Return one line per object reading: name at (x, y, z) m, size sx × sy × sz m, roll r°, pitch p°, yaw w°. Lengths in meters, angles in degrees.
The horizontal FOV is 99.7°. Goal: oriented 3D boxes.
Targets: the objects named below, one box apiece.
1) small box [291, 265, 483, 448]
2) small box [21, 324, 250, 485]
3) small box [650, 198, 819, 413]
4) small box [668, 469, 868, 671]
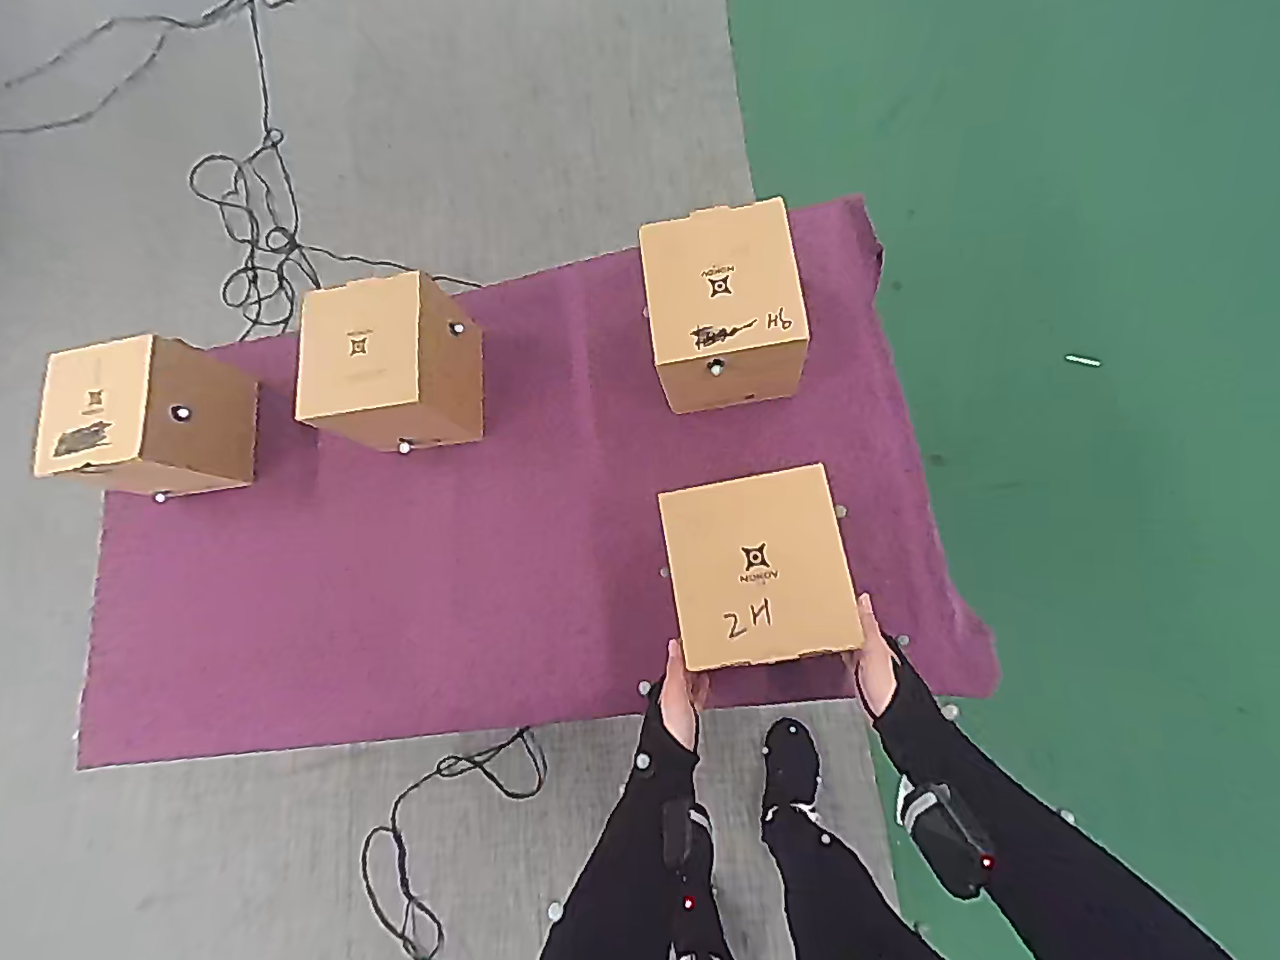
small box at (-0.321, -0.153, 0.718) m, size 0.168 × 0.176 × 0.179 m, roll -5°, pitch 79°, yaw 9°
small box at (-0.691, -0.093, 0.761) m, size 0.168 × 0.176 × 0.179 m, roll -7°, pitch 78°, yaw 7°
small box at (0.109, -0.197, 0.655) m, size 0.168 × 0.176 × 0.179 m, roll -7°, pitch 78°, yaw 9°
small box at (0.129, 0.101, 0.589) m, size 0.168 × 0.176 × 0.179 m, roll -9°, pitch 77°, yaw 9°
